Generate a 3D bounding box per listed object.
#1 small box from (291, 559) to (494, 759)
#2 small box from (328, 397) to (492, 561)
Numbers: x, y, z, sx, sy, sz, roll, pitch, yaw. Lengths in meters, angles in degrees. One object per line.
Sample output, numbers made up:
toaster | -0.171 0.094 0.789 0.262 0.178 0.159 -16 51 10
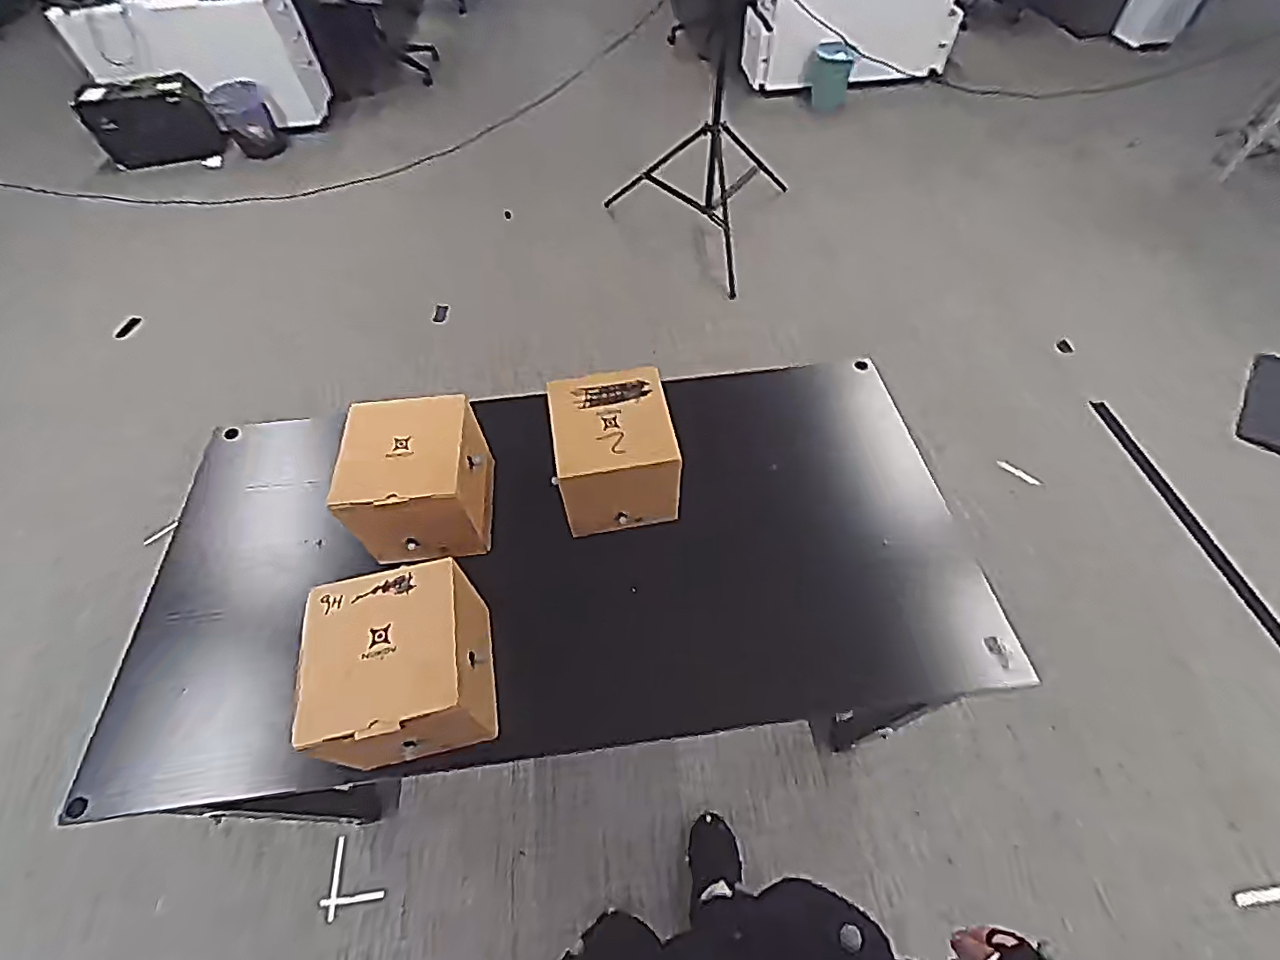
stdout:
small box | -0.281 0.222 0.650 0.168 0.176 0.179 -12 57 -6
small box | -0.323 0.001 0.802 0.168 0.176 0.179 -6 56 -2
